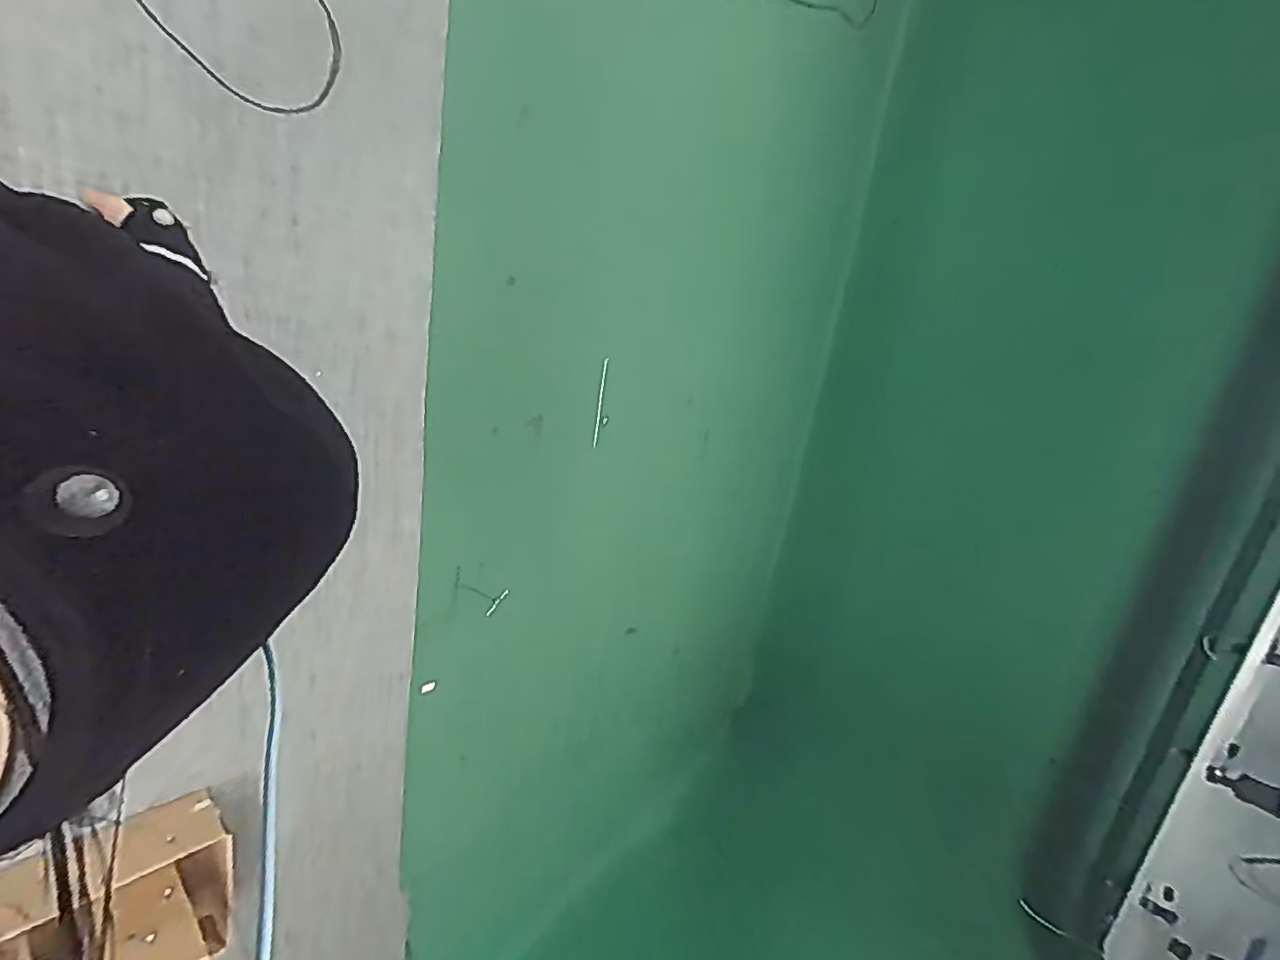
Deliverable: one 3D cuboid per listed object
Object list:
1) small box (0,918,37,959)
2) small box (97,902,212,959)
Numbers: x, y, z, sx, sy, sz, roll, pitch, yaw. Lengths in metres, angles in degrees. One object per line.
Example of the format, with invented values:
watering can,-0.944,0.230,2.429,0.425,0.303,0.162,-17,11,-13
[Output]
small box,-1.359,1.064,1.101,0.179,0.176,0.168,-11,113,-52
small box,-1.081,1.107,1.202,0.168,0.176,0.179,-4,108,-52
